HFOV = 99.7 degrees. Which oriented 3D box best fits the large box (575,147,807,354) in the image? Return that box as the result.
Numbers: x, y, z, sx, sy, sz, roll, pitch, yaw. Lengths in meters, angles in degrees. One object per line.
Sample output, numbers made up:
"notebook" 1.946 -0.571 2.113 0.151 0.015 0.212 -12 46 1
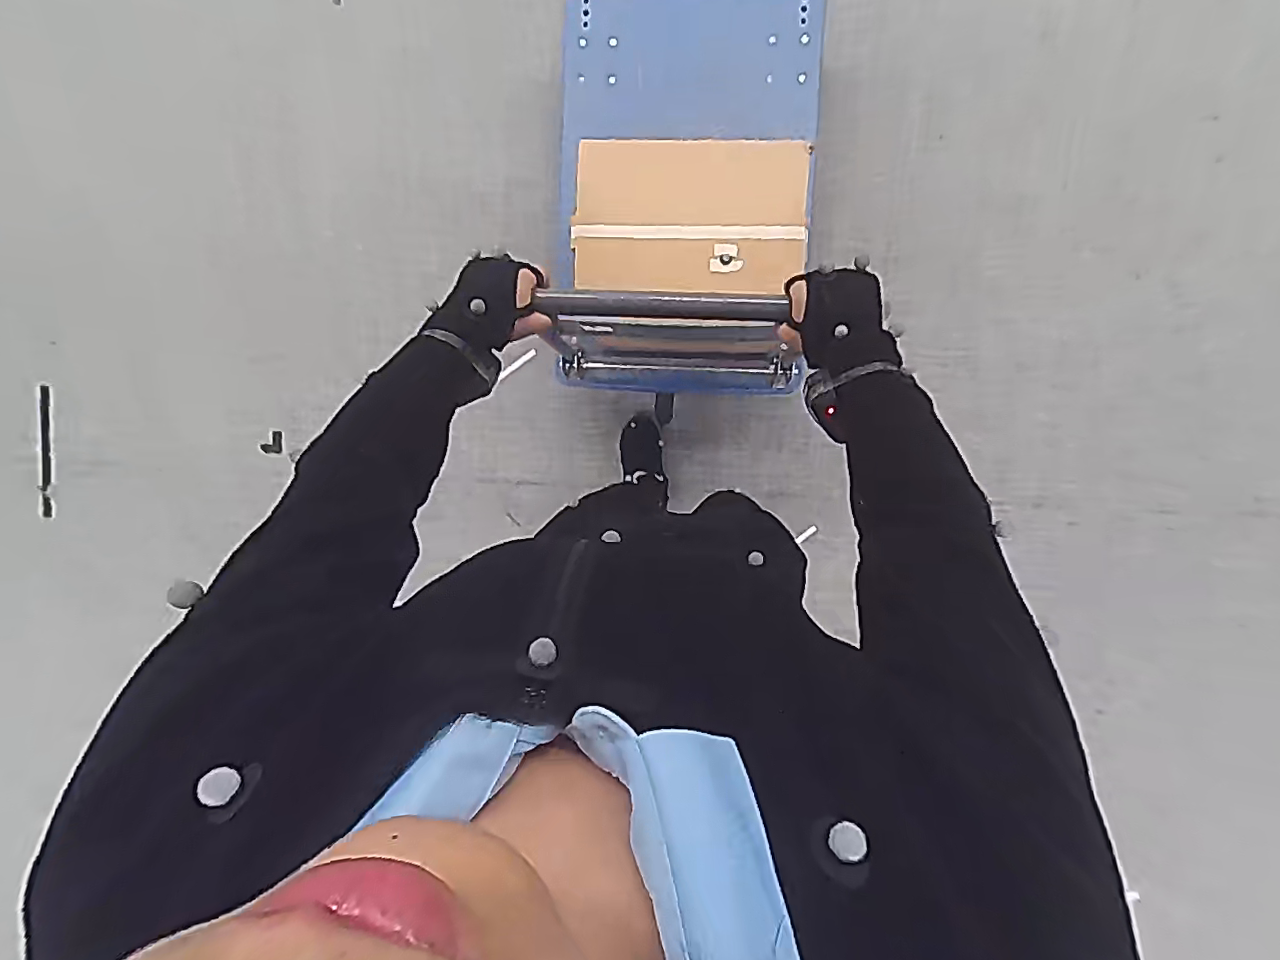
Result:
"large box" 0.091 -0.438 1.100 0.408 0.320 0.320 3 96 3
